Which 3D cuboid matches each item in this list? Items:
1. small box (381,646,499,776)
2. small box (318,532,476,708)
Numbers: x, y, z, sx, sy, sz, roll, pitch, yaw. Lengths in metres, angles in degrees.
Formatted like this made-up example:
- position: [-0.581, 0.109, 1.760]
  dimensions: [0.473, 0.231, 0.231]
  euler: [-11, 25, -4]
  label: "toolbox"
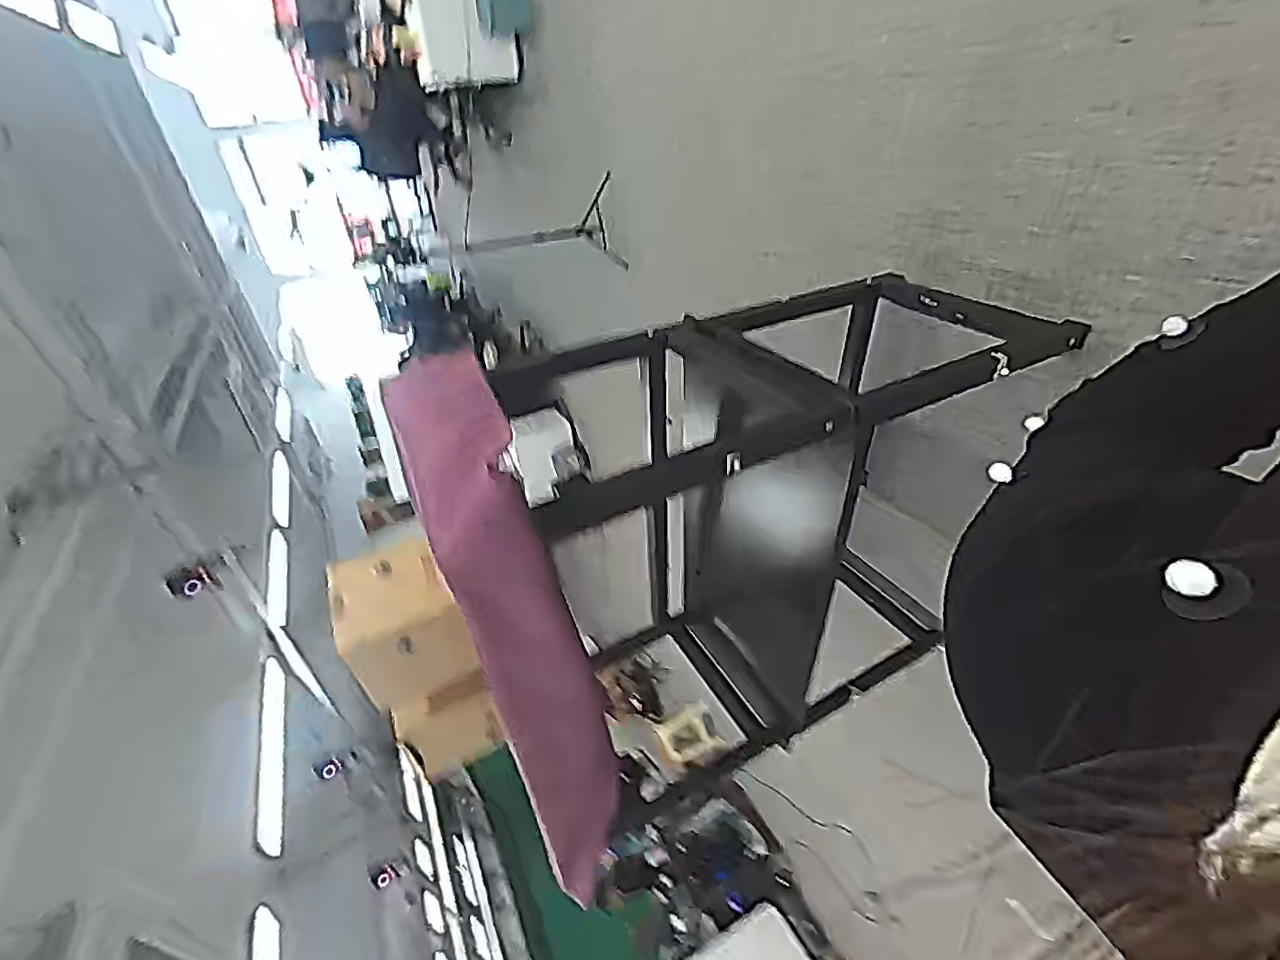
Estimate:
- position: [-0.371, 0.398, 1.006]
  dimensions: [0.179, 0.176, 0.168]
  euler: [49, 150, 46]
  label: "small box"
- position: [-0.371, 0.210, 0.840]
  dimensions: [0.168, 0.176, 0.179]
  euler: [52, 153, 42]
  label: "small box"
